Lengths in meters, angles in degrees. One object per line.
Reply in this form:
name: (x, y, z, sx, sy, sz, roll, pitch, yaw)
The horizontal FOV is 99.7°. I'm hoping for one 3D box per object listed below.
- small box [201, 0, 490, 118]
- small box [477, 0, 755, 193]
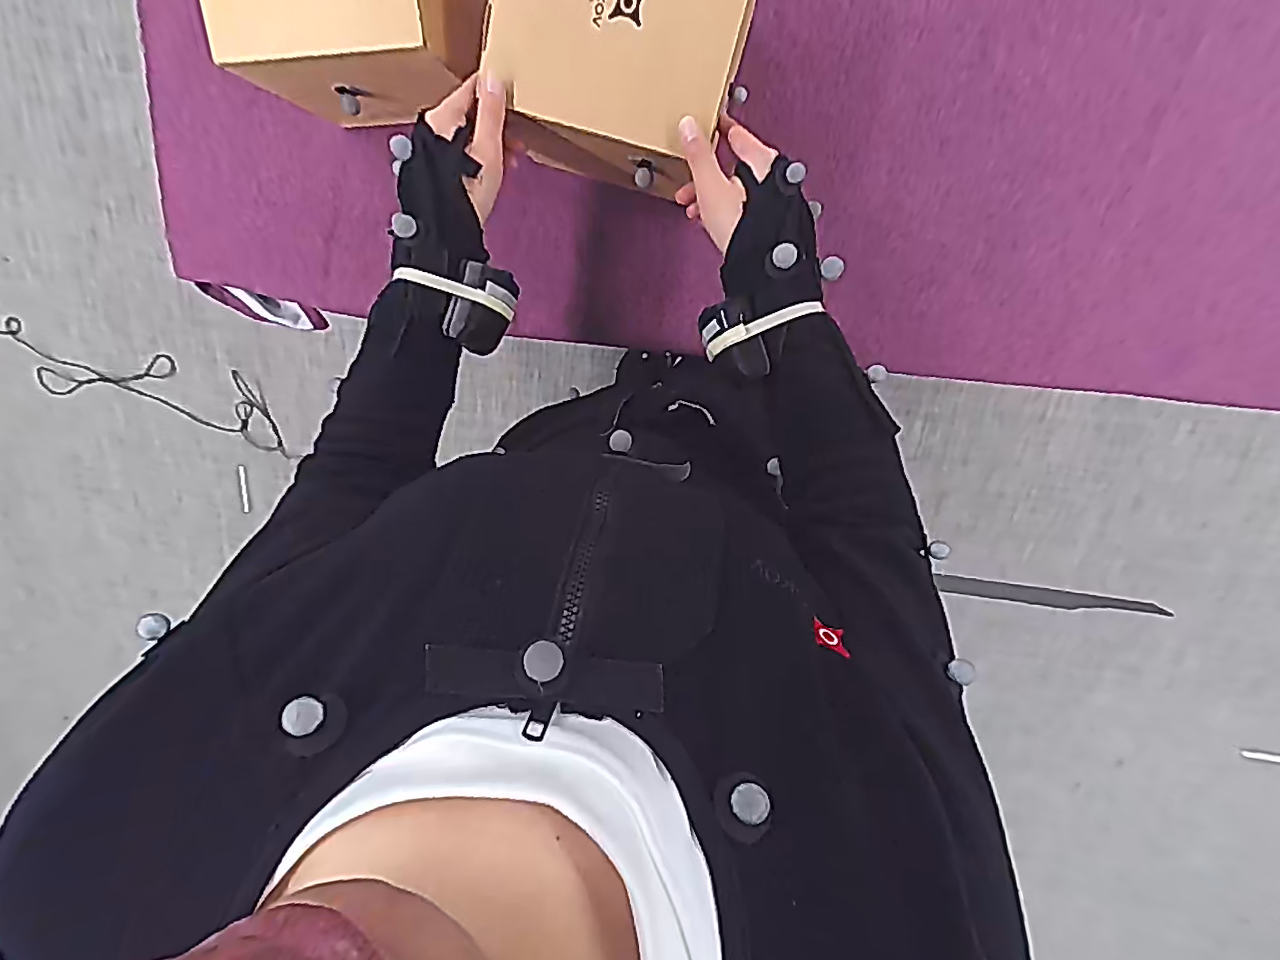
small box: (-0.230, -0.421, 0.444, 0.168, 0.176, 0.179, -1, 107, 6)
small box: (-0.007, -0.354, 0.443, 0.179, 0.176, 0.168, 16, 107, 1)
